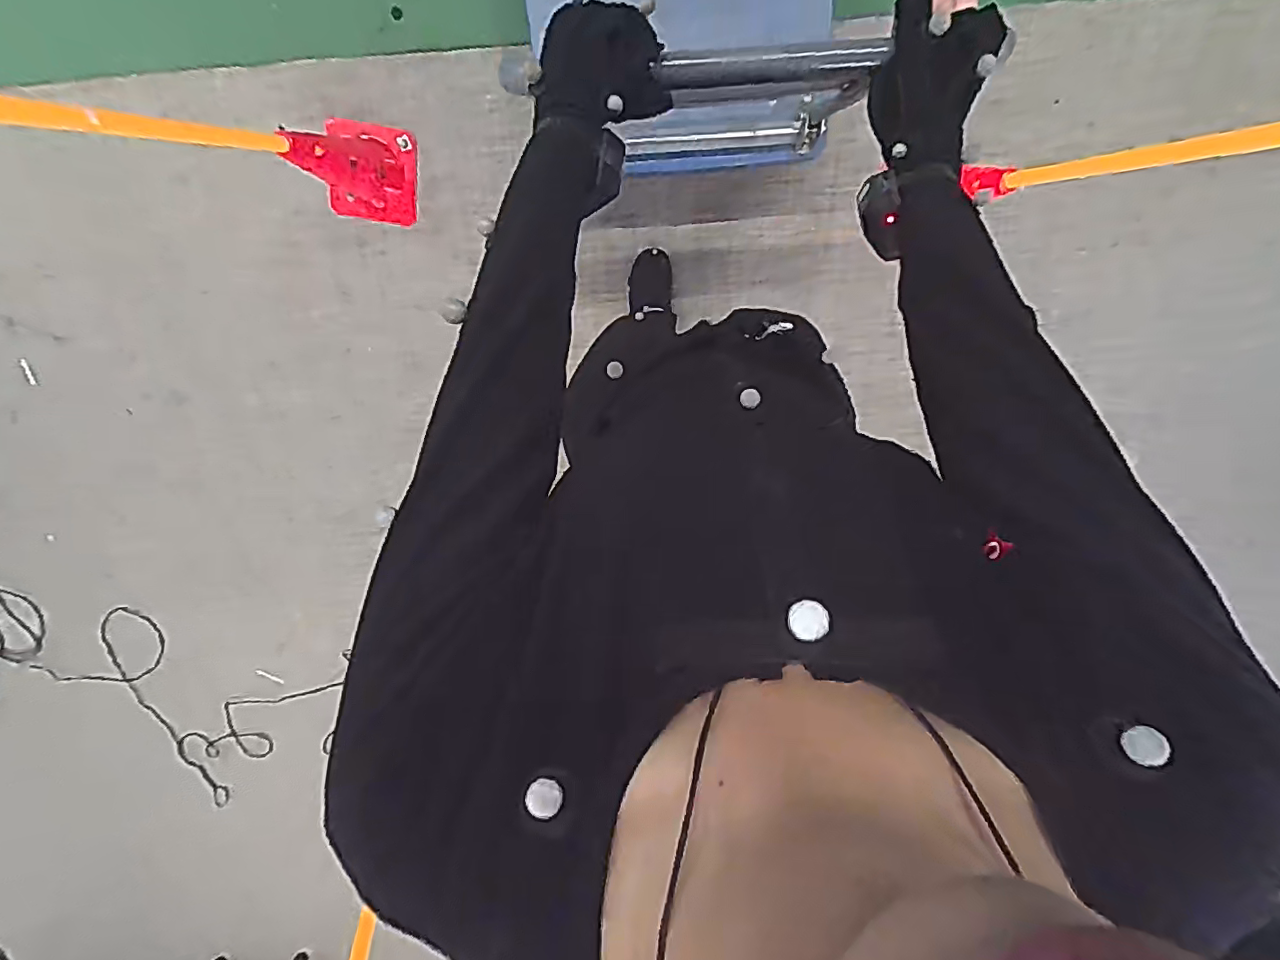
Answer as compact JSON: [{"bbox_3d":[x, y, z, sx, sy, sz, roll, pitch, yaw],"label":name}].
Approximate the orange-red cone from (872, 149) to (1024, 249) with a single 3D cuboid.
[{"bbox_3d":[0.674,-0.604,1.136,0.198,0.360,0.199,7,113,-3],"label":"orange-red cone"}]
